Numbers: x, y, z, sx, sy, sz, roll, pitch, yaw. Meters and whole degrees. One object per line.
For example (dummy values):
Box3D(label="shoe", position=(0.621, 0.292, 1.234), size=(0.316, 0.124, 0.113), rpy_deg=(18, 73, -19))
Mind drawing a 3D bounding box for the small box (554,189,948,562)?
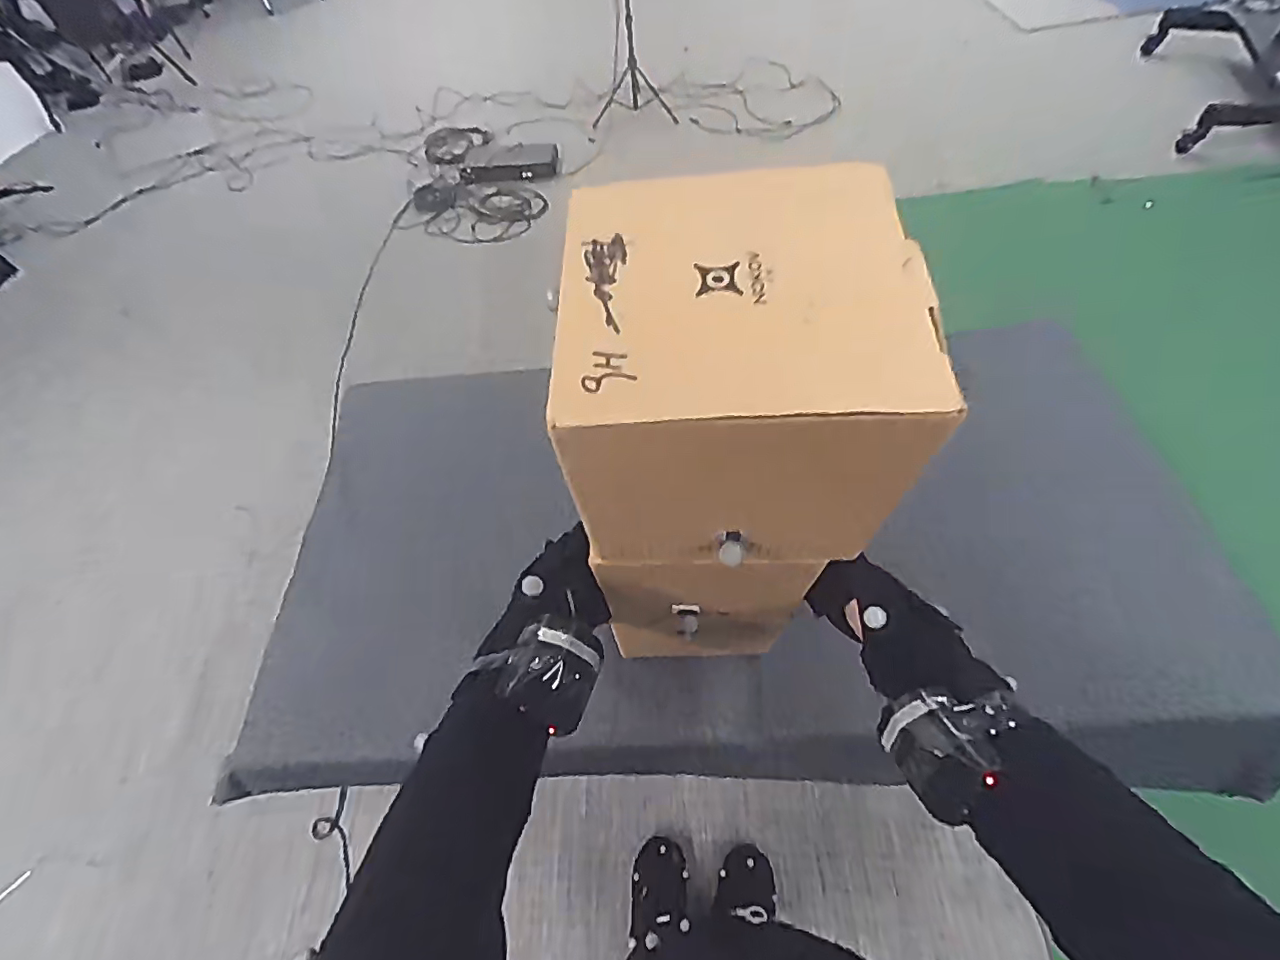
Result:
Box3D(label="small box", position=(0.053, -0.054, 0.345), size=(0.179, 0.176, 0.168), rpy_deg=(-2, 60, 4))

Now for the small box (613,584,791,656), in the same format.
Box3D(label="small box", position=(0.064, 0.104, 0.629), size=(0.179, 0.176, 0.168), rpy_deg=(-2, 61, 2))

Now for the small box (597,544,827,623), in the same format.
Box3D(label="small box", position=(0.056, 0.022, 0.490), size=(0.168, 0.176, 0.179), rpy_deg=(-2, 62, 4))
